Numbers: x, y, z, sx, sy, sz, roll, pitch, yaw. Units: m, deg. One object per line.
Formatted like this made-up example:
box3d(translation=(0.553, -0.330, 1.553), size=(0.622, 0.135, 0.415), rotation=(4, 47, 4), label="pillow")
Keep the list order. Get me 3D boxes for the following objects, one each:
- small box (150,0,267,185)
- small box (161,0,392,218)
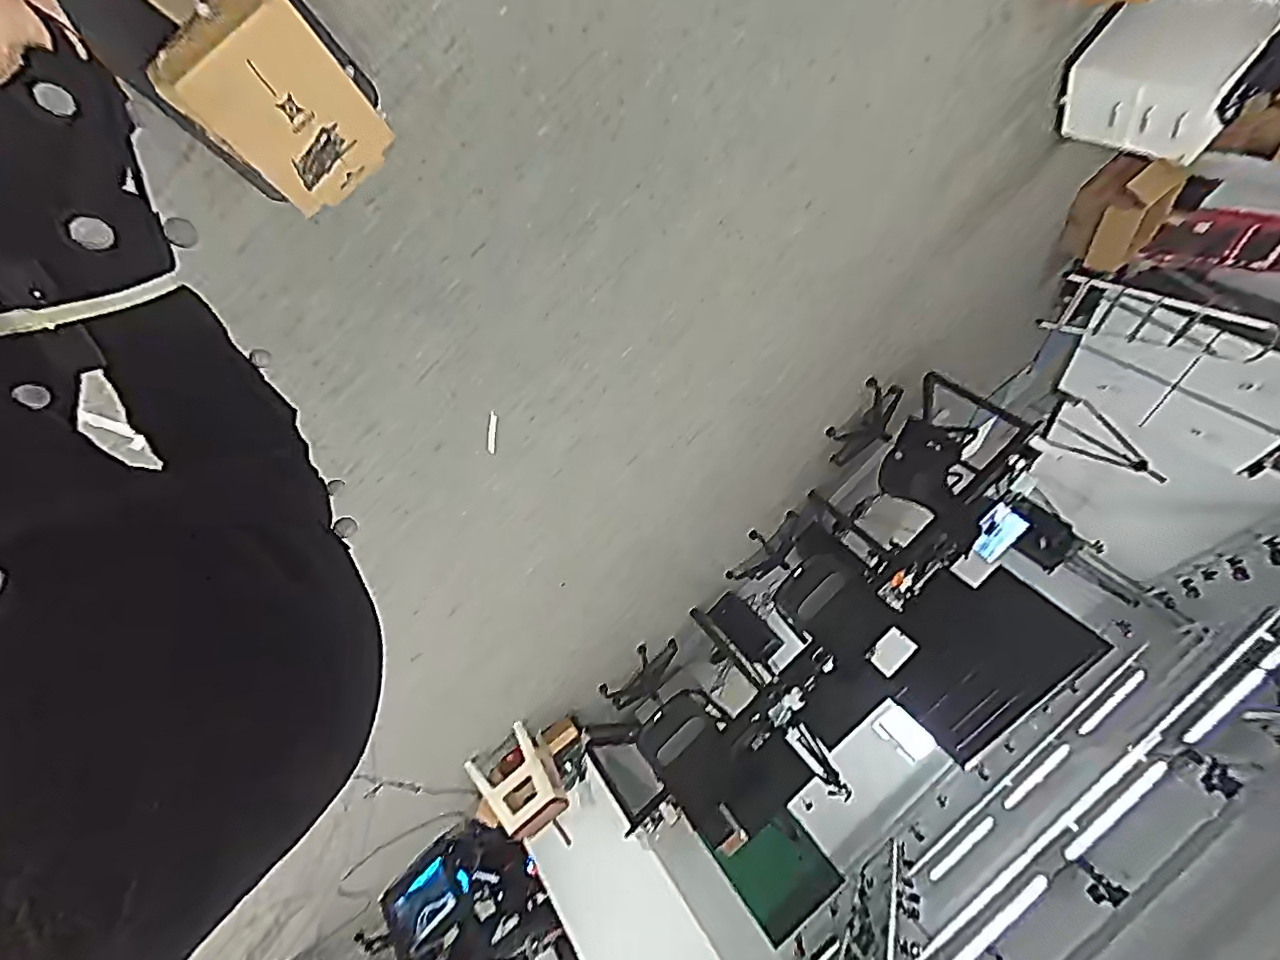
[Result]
box3d(translation=(-0.578, -0.578, 0.800), size=(0.179, 0.176, 0.168), rotation=(-46, 147, 3), label="small box")
box3d(translation=(-0.471, -0.492, 0.708), size=(0.168, 0.176, 0.179), rotation=(-43, 146, -2), label="small box")
